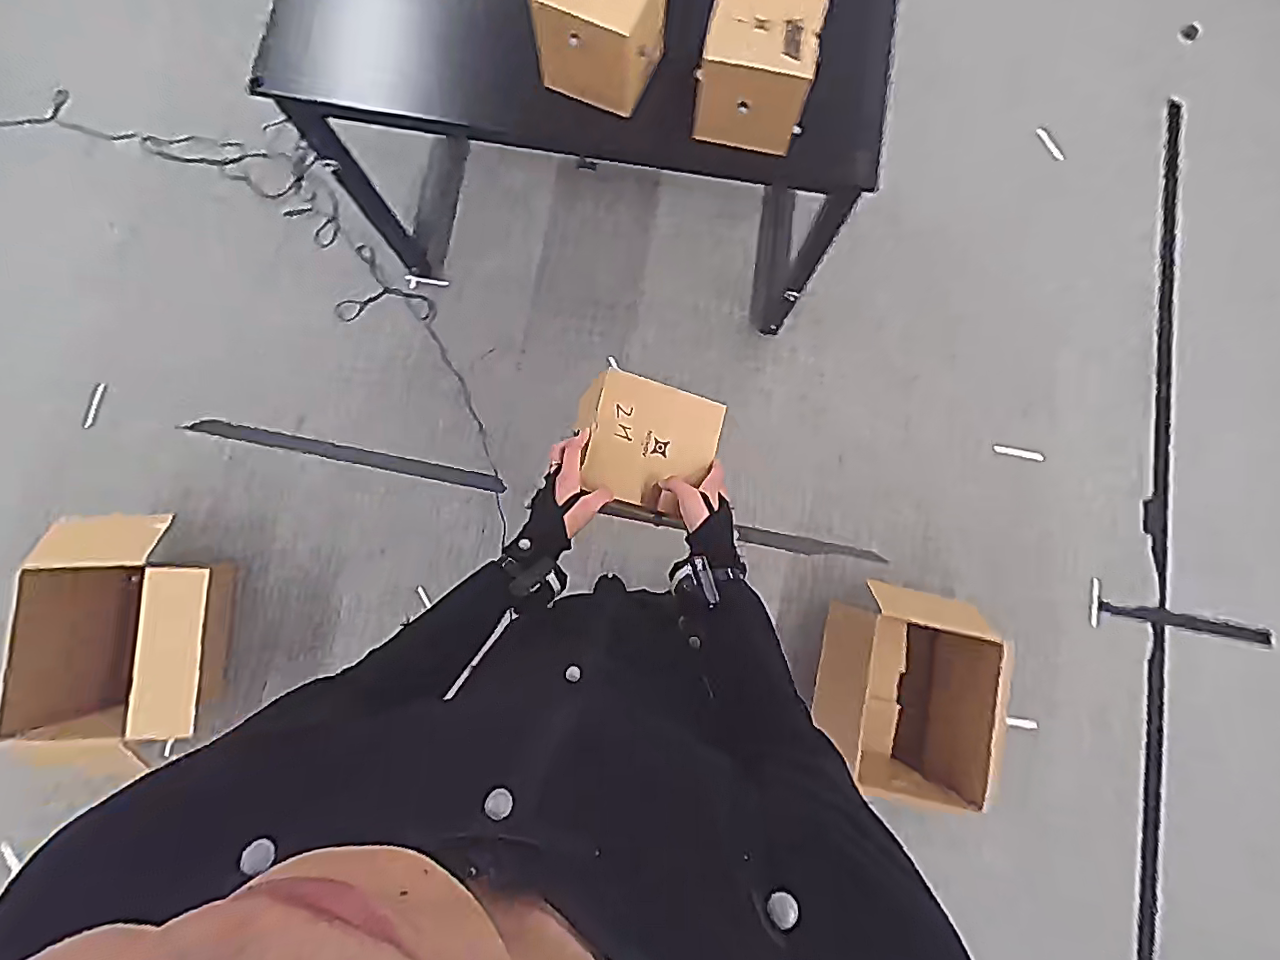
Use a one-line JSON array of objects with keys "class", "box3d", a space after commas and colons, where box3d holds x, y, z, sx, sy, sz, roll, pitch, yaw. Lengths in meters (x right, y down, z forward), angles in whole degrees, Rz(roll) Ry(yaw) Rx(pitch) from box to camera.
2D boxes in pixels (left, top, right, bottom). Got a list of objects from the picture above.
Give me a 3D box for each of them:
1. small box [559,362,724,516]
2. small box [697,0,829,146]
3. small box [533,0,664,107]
[{"class": "small box", "box3d": [-0.006, -0.049, 0.779, 0.179, 0.176, 0.168, 15, 83, -14]}, {"class": "small box", "box3d": [0.204, -0.718, 0.933, 0.179, 0.176, 0.168, 12, 82, 3]}, {"class": "small box", "box3d": [-0.063, -0.804, 0.947, 0.179, 0.176, 0.168, 23, 82, 4]}]
